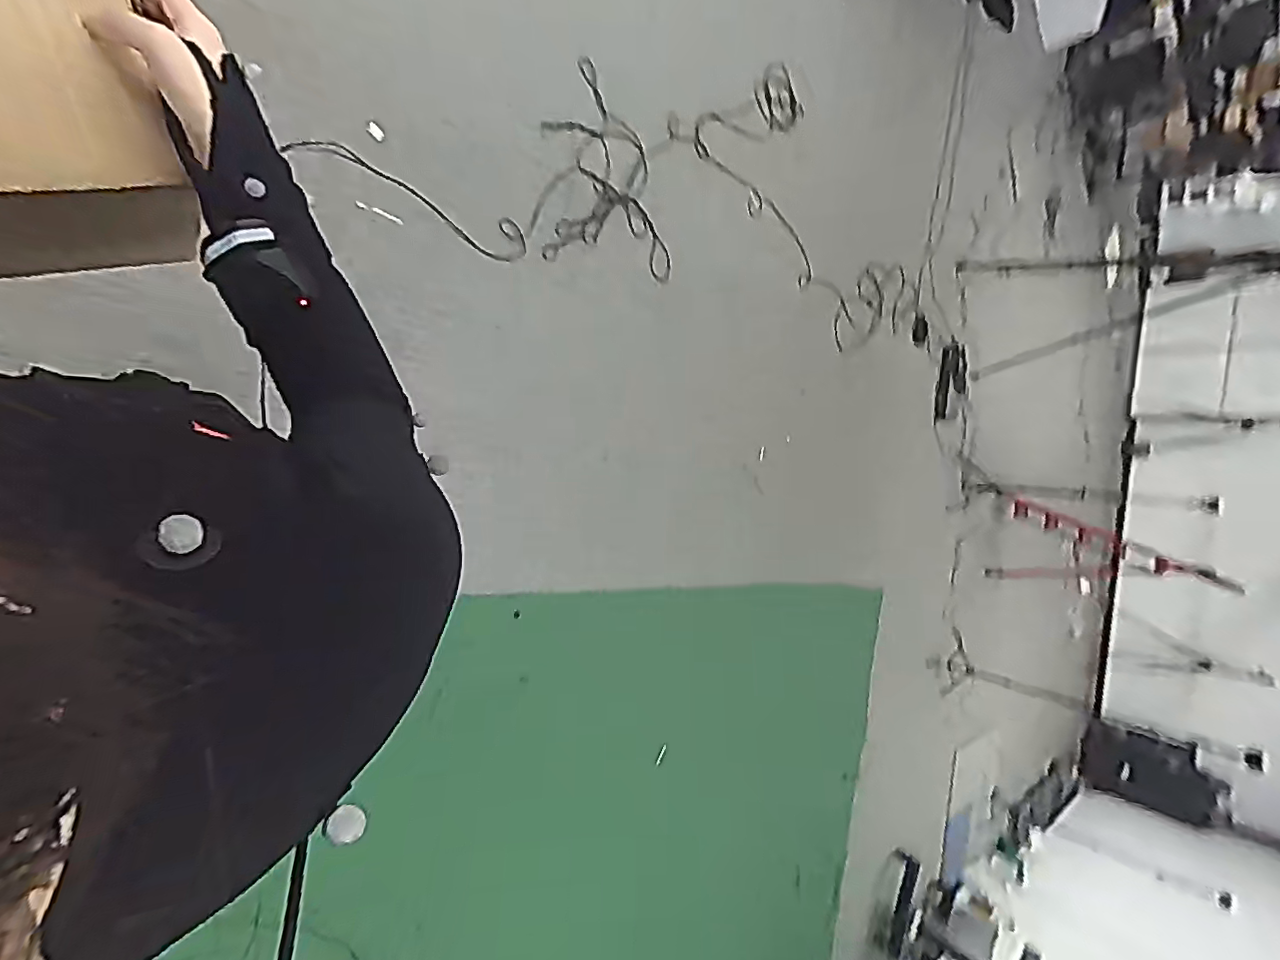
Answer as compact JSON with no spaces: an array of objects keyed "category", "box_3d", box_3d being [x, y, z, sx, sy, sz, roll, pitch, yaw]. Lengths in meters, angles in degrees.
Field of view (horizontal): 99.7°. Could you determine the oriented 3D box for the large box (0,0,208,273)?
[{"category":"large box","box_3d":[-0.605,-0.318,0.374,0.408,0.320,0.320,-24,112,-34]}]
